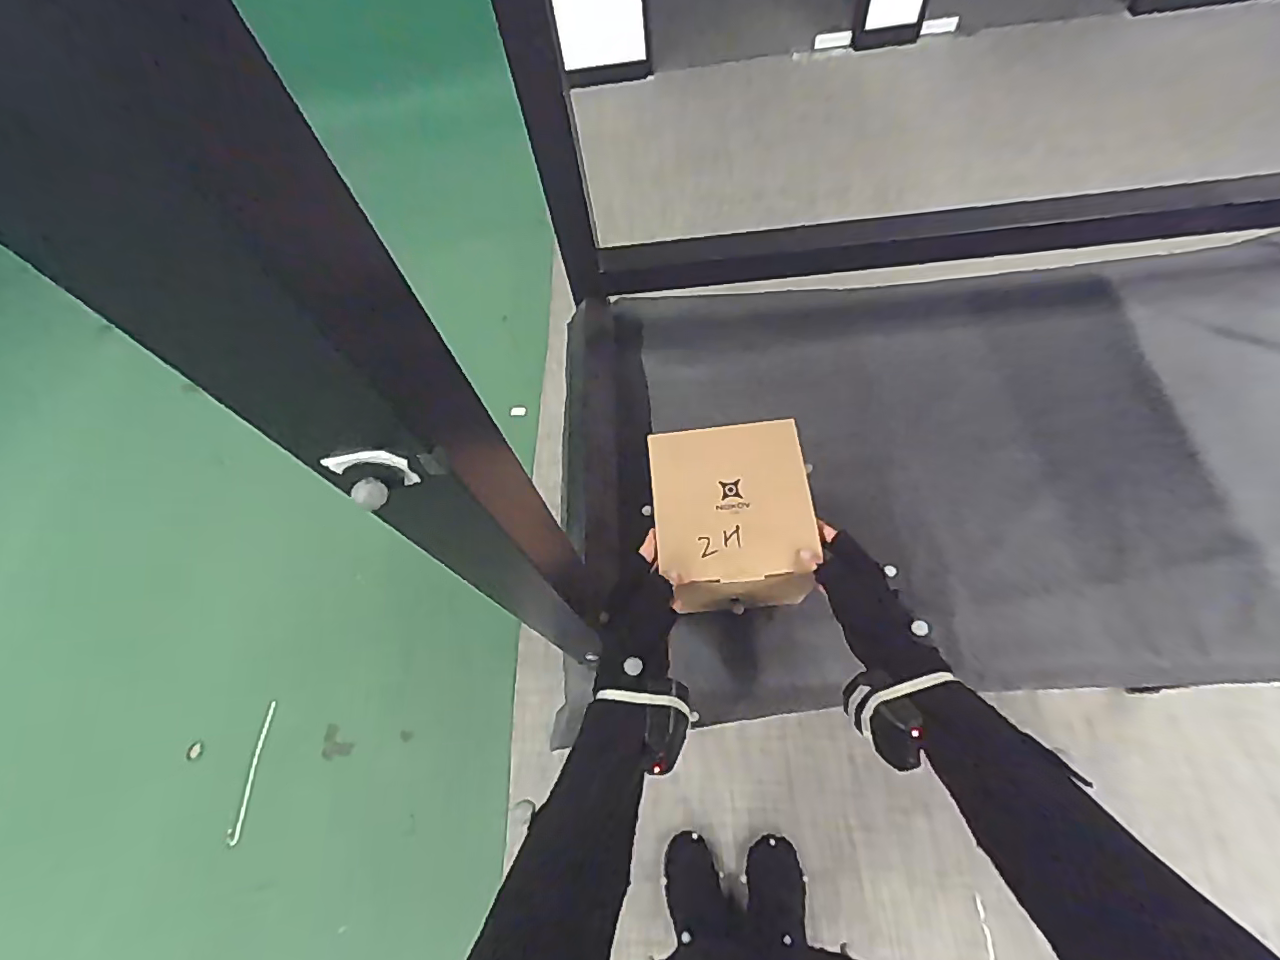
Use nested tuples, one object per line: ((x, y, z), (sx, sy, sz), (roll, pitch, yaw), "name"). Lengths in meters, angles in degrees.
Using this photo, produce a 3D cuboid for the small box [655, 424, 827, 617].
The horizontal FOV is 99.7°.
((0.108, 0.056, 0.646), (0.168, 0.176, 0.179), (-6, 65, 5), "small box")
